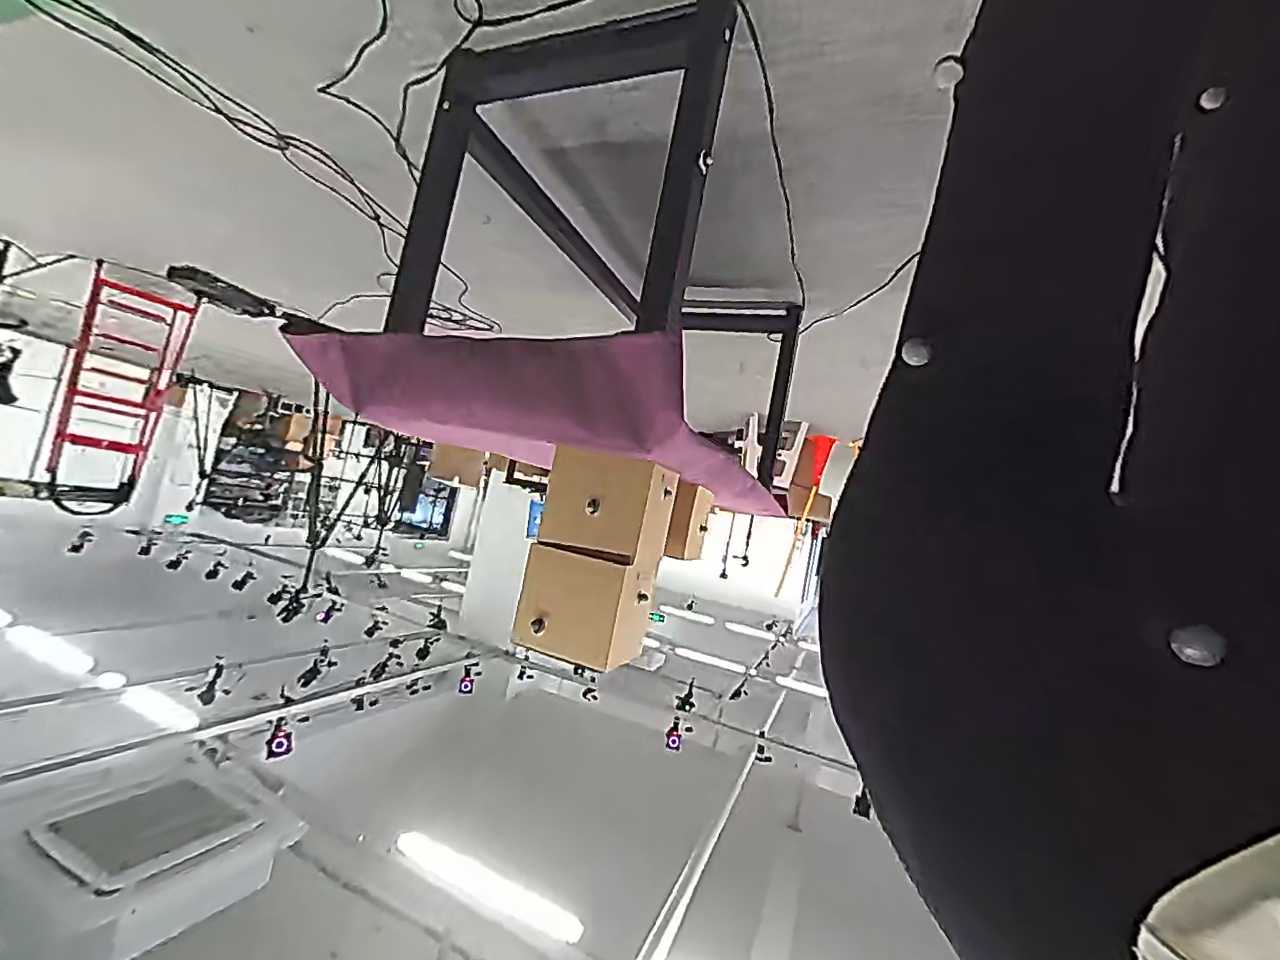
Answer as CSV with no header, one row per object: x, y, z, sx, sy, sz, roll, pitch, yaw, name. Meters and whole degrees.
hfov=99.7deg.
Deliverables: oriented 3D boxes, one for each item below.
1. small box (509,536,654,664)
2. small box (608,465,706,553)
-0.092,0.191,0.920,0.179,0.176,0.168,10,178,20,small box
0.047,0.065,1.235,0.179,0.176,0.168,11,177,19,small box
